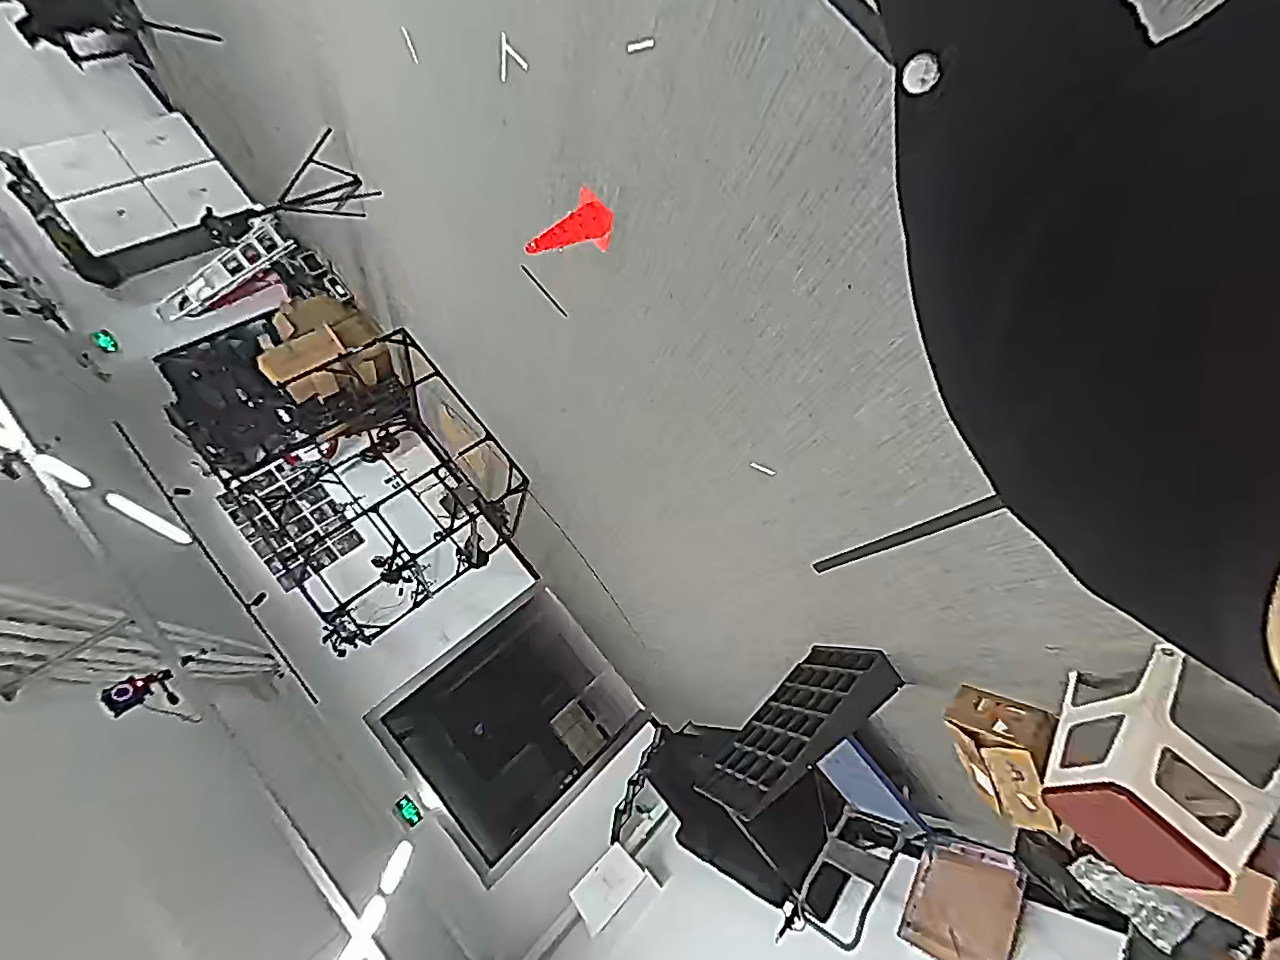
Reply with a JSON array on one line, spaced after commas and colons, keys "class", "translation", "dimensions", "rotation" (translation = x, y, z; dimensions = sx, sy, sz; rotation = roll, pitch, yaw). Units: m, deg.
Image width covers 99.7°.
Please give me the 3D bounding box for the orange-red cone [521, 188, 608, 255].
[{"class": "orange-red cone", "translation": [-0.332, -1.005, 2.210], "dimensions": [0.199, 0.360, 0.198], "rotation": [47, 154, 9]}]
